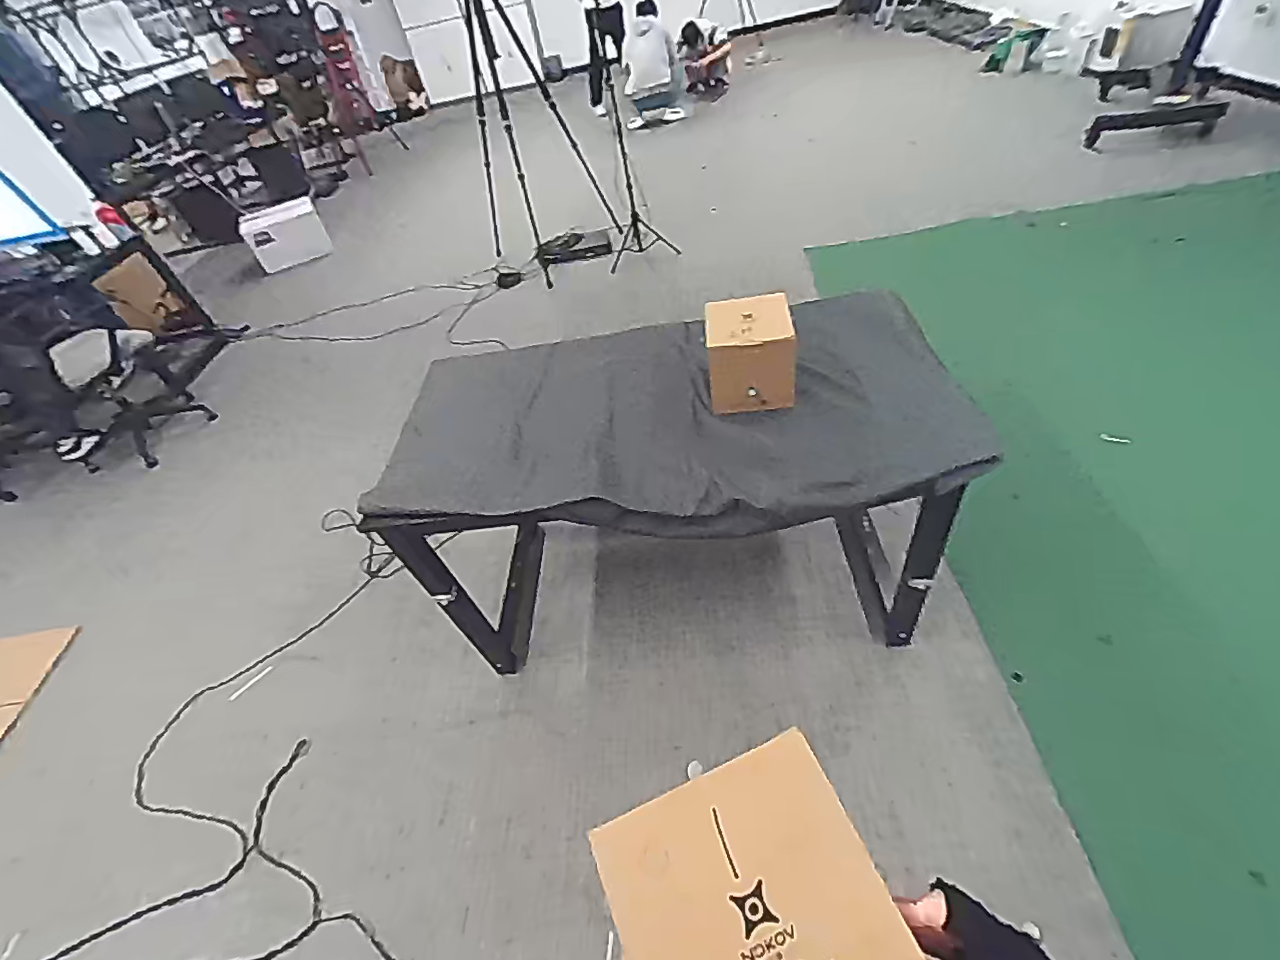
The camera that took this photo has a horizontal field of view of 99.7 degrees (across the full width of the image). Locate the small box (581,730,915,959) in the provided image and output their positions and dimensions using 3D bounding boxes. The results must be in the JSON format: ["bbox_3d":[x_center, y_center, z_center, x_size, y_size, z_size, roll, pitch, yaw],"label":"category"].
[{"bbox_3d":[0.074,0.314,0.397,0.168,0.176,0.179,-22,57,-9],"label":"small box"}]

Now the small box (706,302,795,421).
[{"bbox_3d":[0.227,-0.245,1.130,0.168,0.176,0.179,-5,46,10],"label":"small box"}]
